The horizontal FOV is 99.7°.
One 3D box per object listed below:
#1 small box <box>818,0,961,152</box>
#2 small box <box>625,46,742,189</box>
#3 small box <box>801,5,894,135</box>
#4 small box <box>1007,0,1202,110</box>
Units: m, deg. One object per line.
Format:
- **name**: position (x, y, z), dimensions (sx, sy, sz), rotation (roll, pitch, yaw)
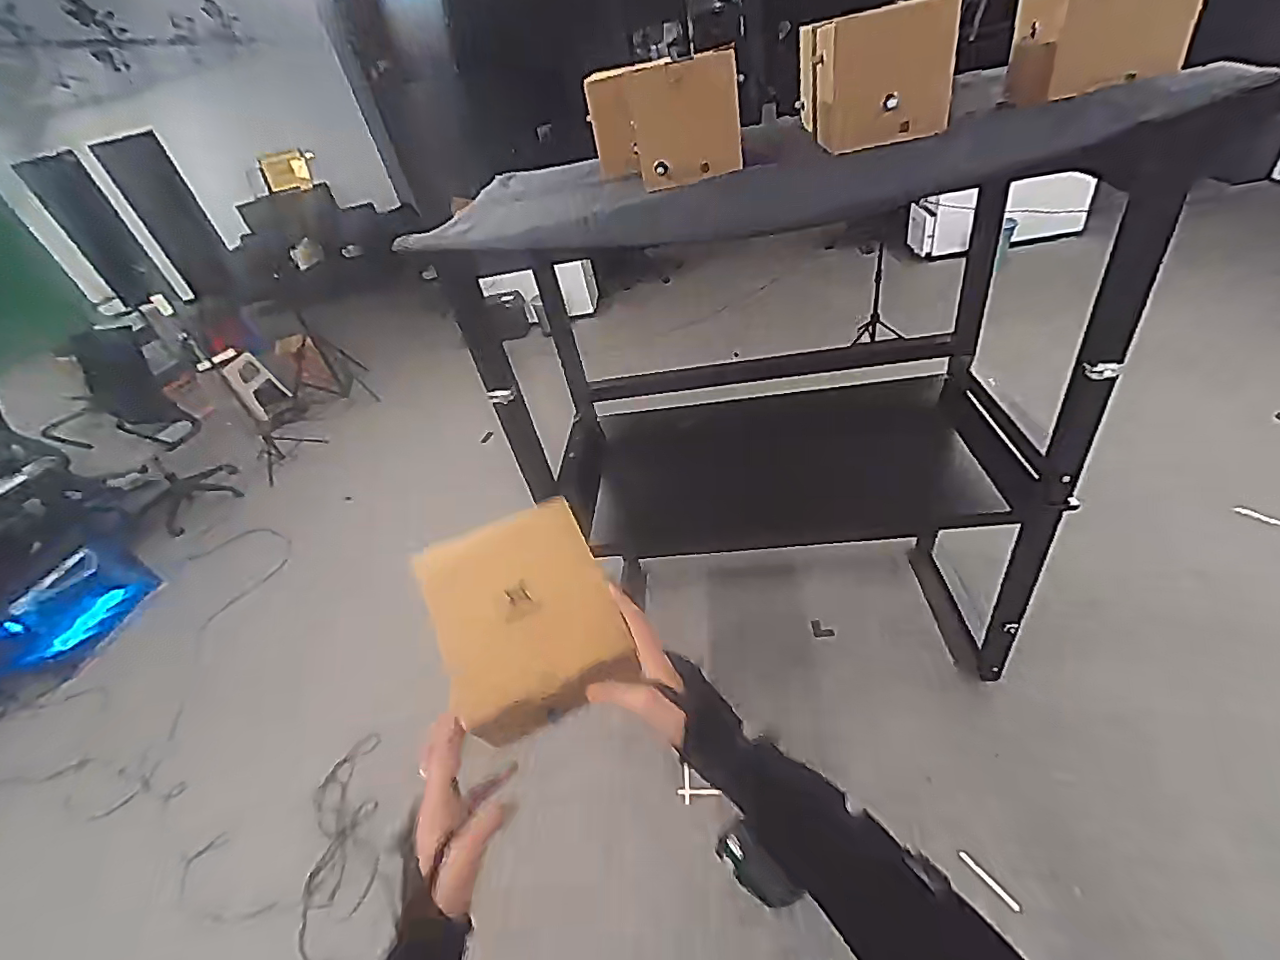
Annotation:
- **small box**: position (0.376, -0.631, 0.849), dimensions (0.168, 0.176, 0.179), rotation (-5, 37, 12)
- **small box**: position (0.080, -0.604, 0.910), dimensions (0.168, 0.176, 0.179), rotation (-5, 37, 11)
- **small box**: position (0.408, -0.789, 1.042), dimensions (0.179, 0.176, 0.168), rotation (-4, 38, 12)
- **small box**: position (0.679, -0.668, 0.803), dimensions (0.168, 0.176, 0.179), rotation (-4, 38, 14)
